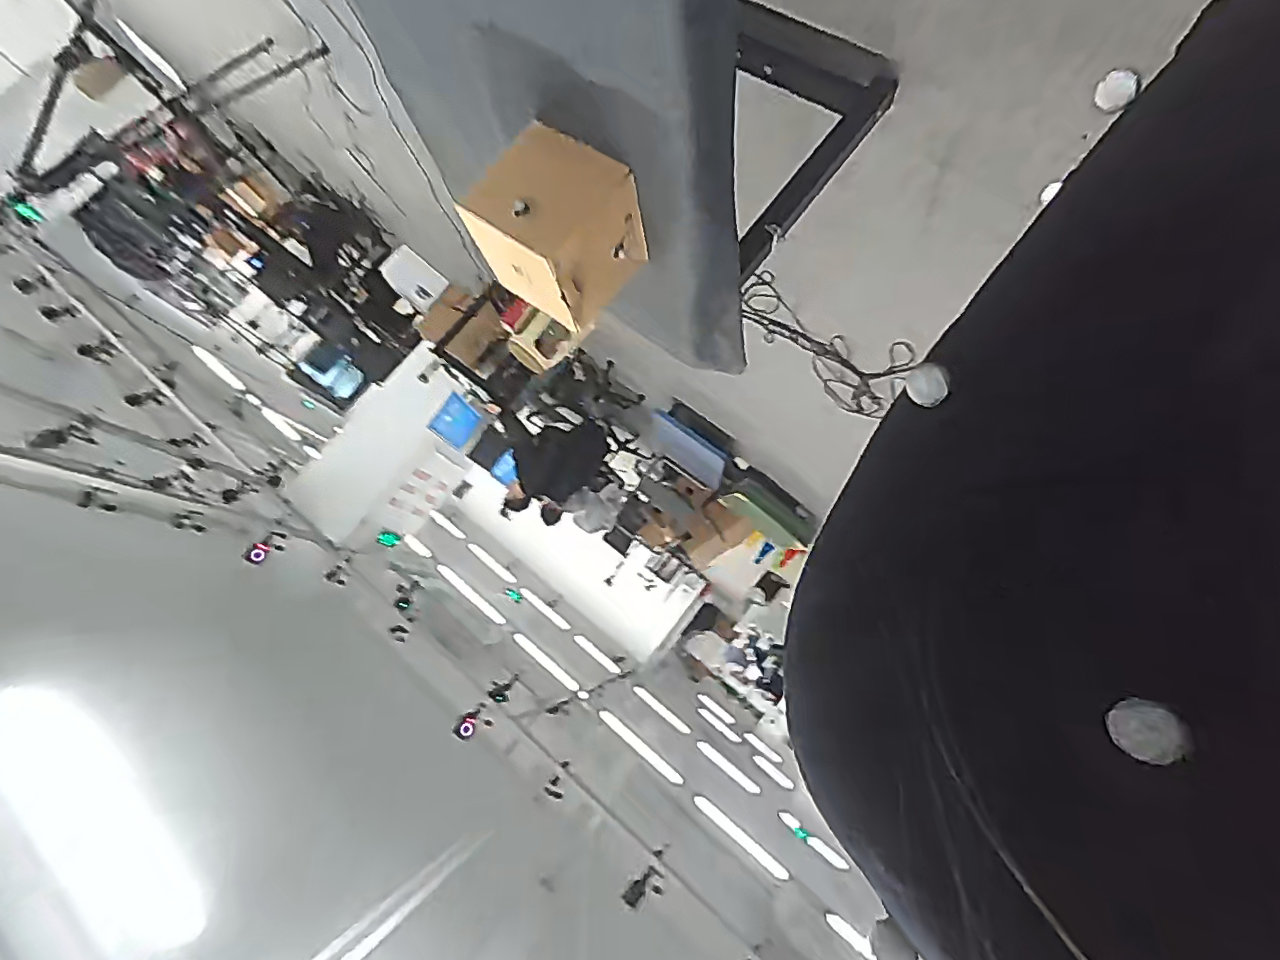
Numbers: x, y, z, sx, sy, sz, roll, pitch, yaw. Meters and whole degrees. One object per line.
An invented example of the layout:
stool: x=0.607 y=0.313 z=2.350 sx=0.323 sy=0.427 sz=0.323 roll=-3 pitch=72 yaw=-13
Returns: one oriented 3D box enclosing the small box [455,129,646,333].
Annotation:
small box: x=-0.116 y=-0.351 z=0.766 sx=0.179 sy=0.176 sz=0.168 roll=36 pitch=170 yaw=17
